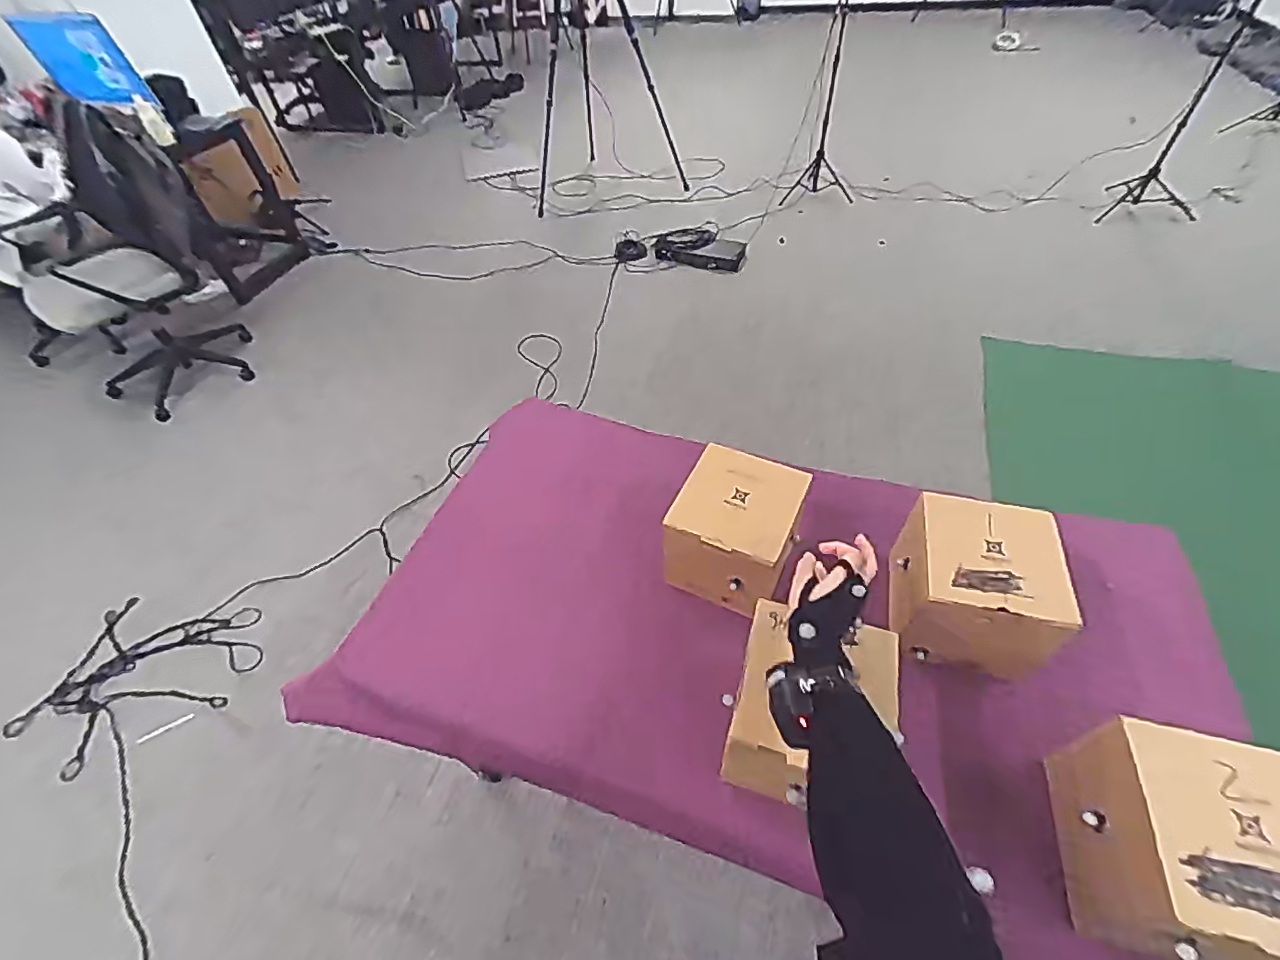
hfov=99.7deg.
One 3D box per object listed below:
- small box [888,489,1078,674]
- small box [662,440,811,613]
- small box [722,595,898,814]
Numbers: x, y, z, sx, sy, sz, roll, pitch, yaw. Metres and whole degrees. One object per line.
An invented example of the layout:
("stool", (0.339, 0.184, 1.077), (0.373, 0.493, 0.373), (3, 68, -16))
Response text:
("small box", (0.453, 0.142, 0.747), (0.168, 0.176, 0.179), (11, 49, 13))
("small box", (0.146, 0.074, 0.832), (0.168, 0.176, 0.179), (20, 54, 20))
("small box", (0.198, 0.273, 0.652), (0.168, 0.176, 0.179), (12, 50, 14))
